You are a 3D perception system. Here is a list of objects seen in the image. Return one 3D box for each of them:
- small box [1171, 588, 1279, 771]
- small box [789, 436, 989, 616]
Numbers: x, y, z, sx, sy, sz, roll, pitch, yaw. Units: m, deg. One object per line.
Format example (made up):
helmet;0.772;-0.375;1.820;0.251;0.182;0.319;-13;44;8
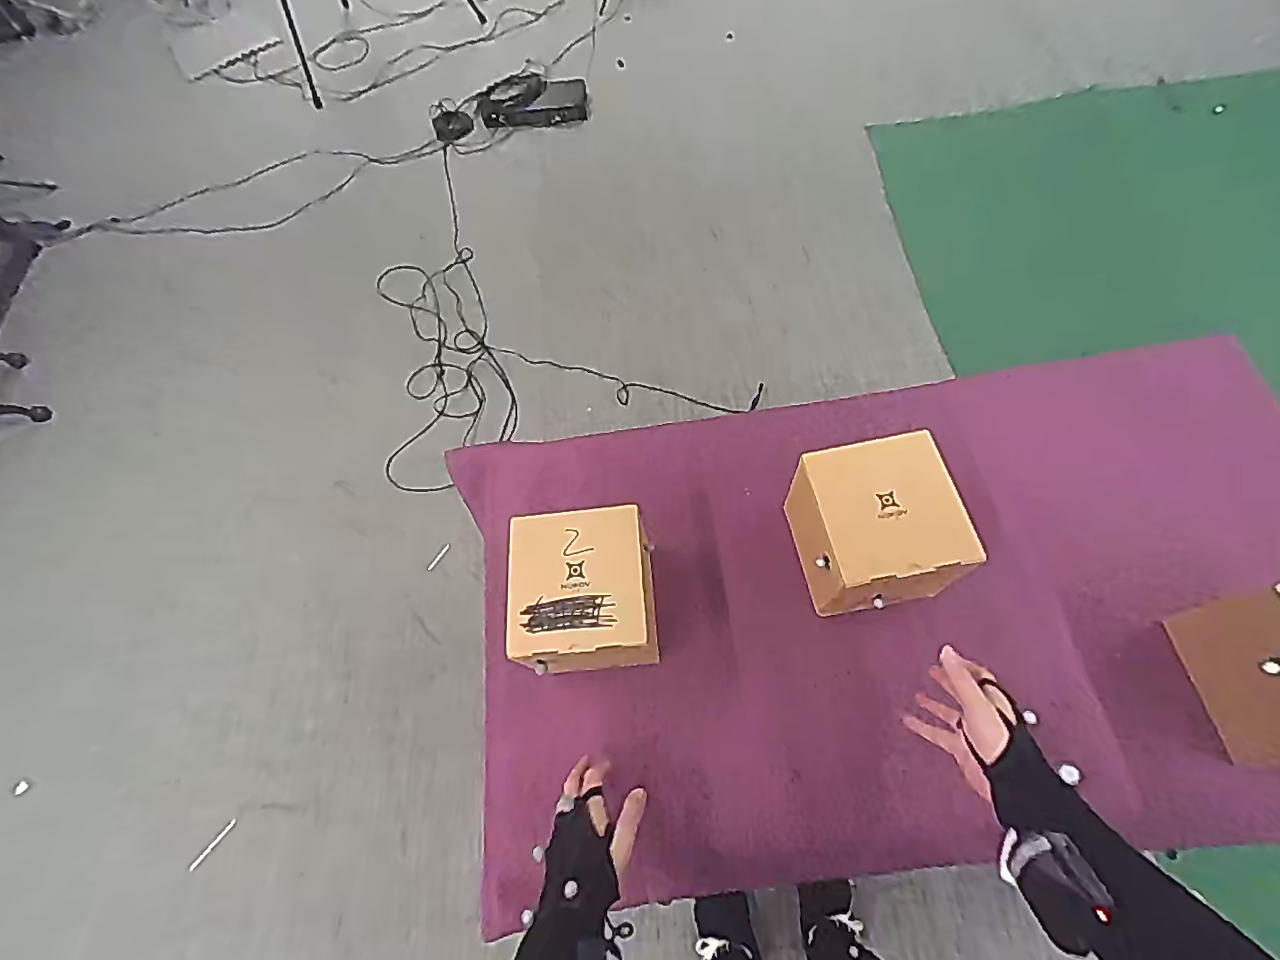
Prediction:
small box;0.758;0.218;0.591;0.168;0.176;0.179;-7;64;5
small box;0.309;0.067;0.720;0.168;0.176;0.179;-11;65;1
